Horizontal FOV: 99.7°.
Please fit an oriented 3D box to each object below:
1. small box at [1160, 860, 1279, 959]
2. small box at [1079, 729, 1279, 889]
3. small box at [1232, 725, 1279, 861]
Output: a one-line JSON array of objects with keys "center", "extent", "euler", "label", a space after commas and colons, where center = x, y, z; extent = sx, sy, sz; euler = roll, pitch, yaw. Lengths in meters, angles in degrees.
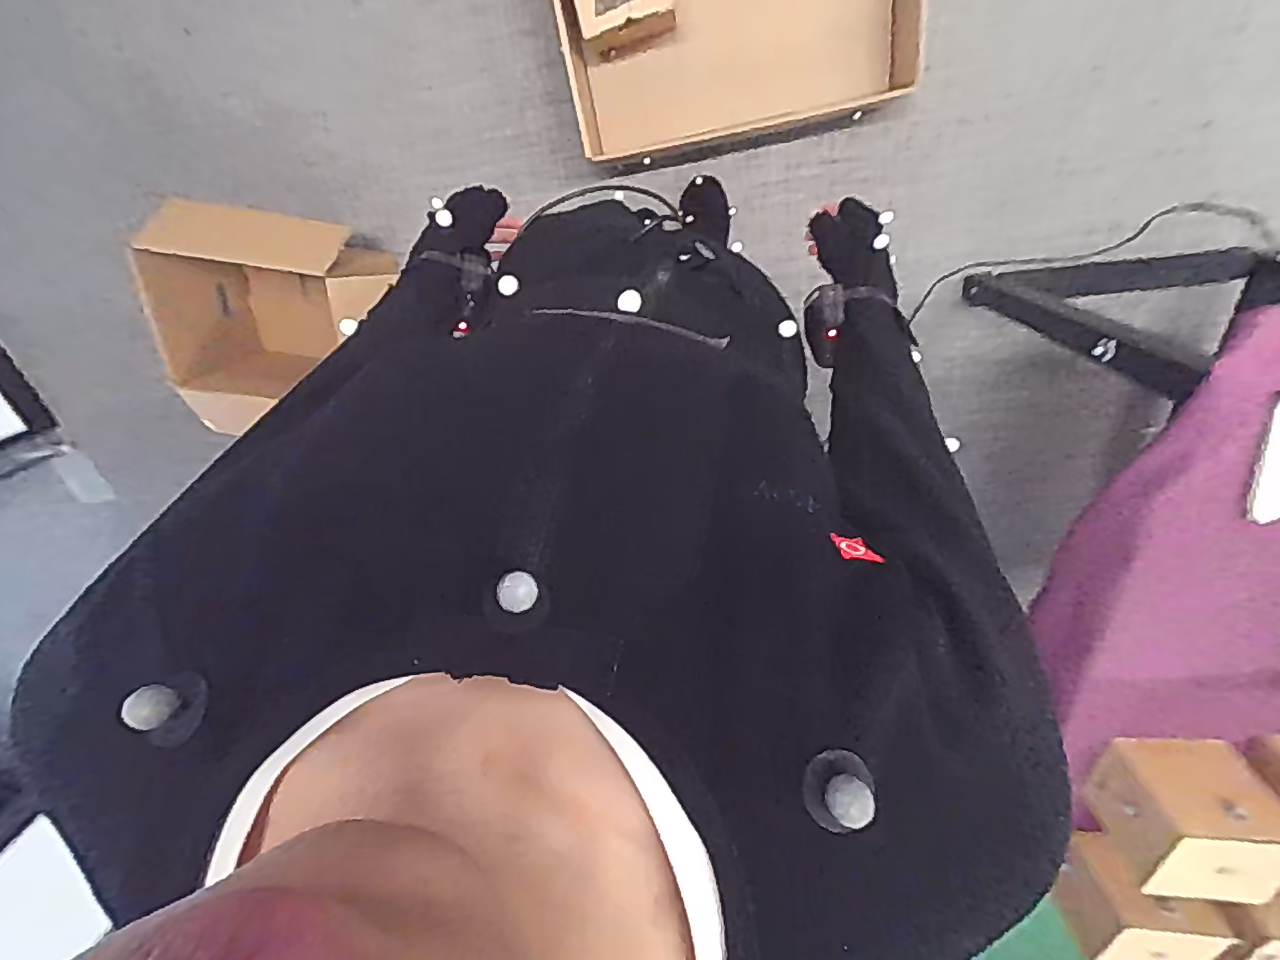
[{"center": [1.145, 0.784, 1.019], "extent": [0.179, 0.176, 0.168], "euler": [1, 120, 5], "label": "small box"}, {"center": [0.892, 0.540, 0.903], "extent": [0.179, 0.176, 0.168], "euler": [0, 120, 6], "label": "small box"}, {"center": [1.112, 0.514, 0.864], "extent": [0.179, 0.176, 0.168], "euler": [-2, 120, 8], "label": "small box"}]
